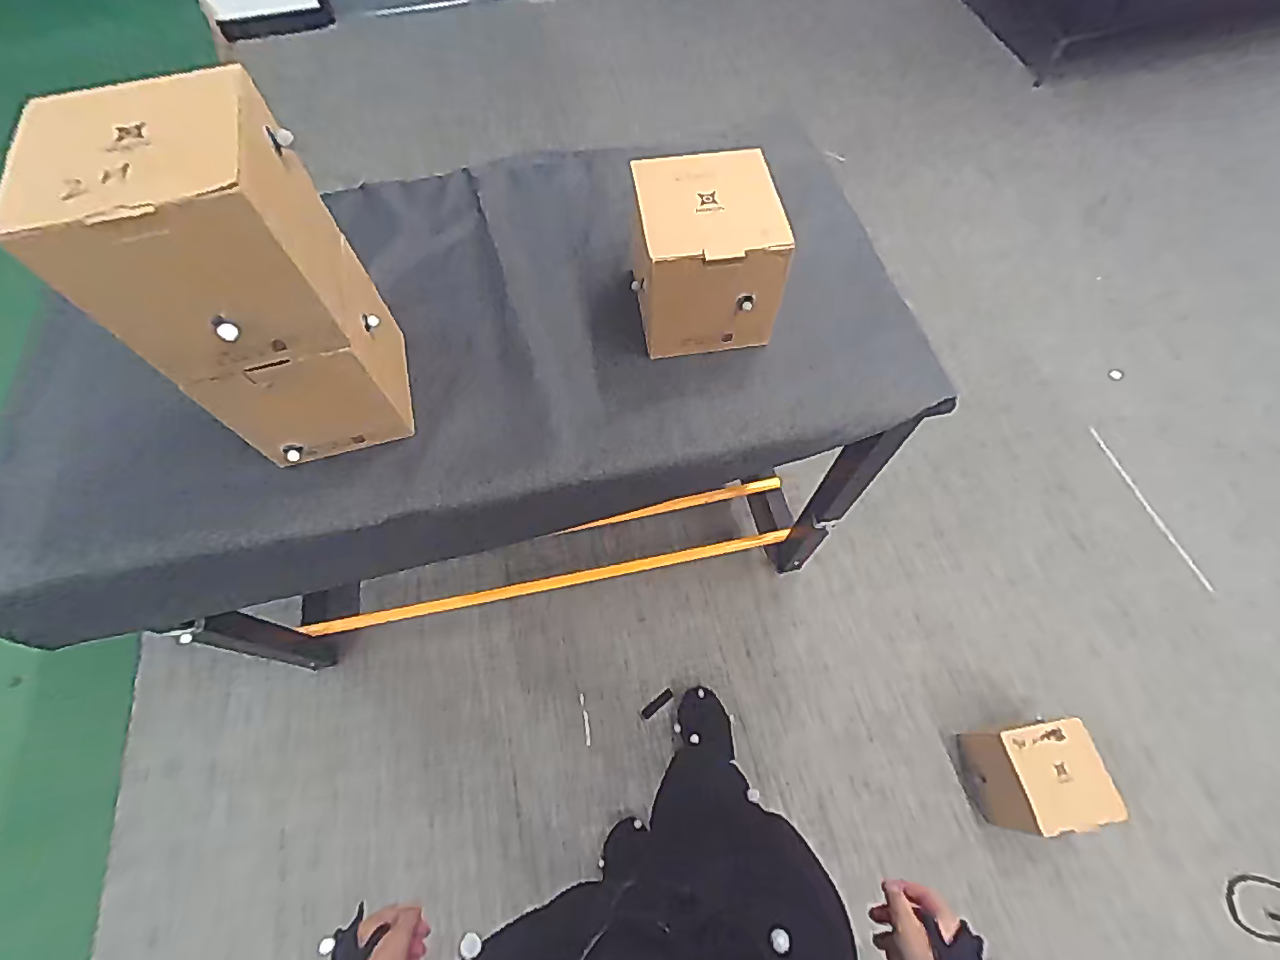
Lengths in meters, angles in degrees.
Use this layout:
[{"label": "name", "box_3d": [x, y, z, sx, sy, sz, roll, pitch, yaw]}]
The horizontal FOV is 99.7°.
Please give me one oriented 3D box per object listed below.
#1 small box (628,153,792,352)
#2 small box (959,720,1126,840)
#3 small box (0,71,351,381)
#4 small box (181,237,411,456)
[{"label": "small box", "box_3d": [0.079, -0.283, 0.699, 0.168, 0.176, 0.179, -7, 63, -4]}, {"label": "small box", "box_3d": [0.775, 0.580, 1.065, 0.168, 0.176, 0.179, -9, 65, -3]}, {"label": "small box", "box_3d": [-0.387, -0.221, 0.489, 0.168, 0.176, 0.179, -17, 64, -7]}, {"label": "small box", "box_3d": [-0.384, -0.144, 0.635, 0.168, 0.176, 0.179, -15, 63, -7]}]
